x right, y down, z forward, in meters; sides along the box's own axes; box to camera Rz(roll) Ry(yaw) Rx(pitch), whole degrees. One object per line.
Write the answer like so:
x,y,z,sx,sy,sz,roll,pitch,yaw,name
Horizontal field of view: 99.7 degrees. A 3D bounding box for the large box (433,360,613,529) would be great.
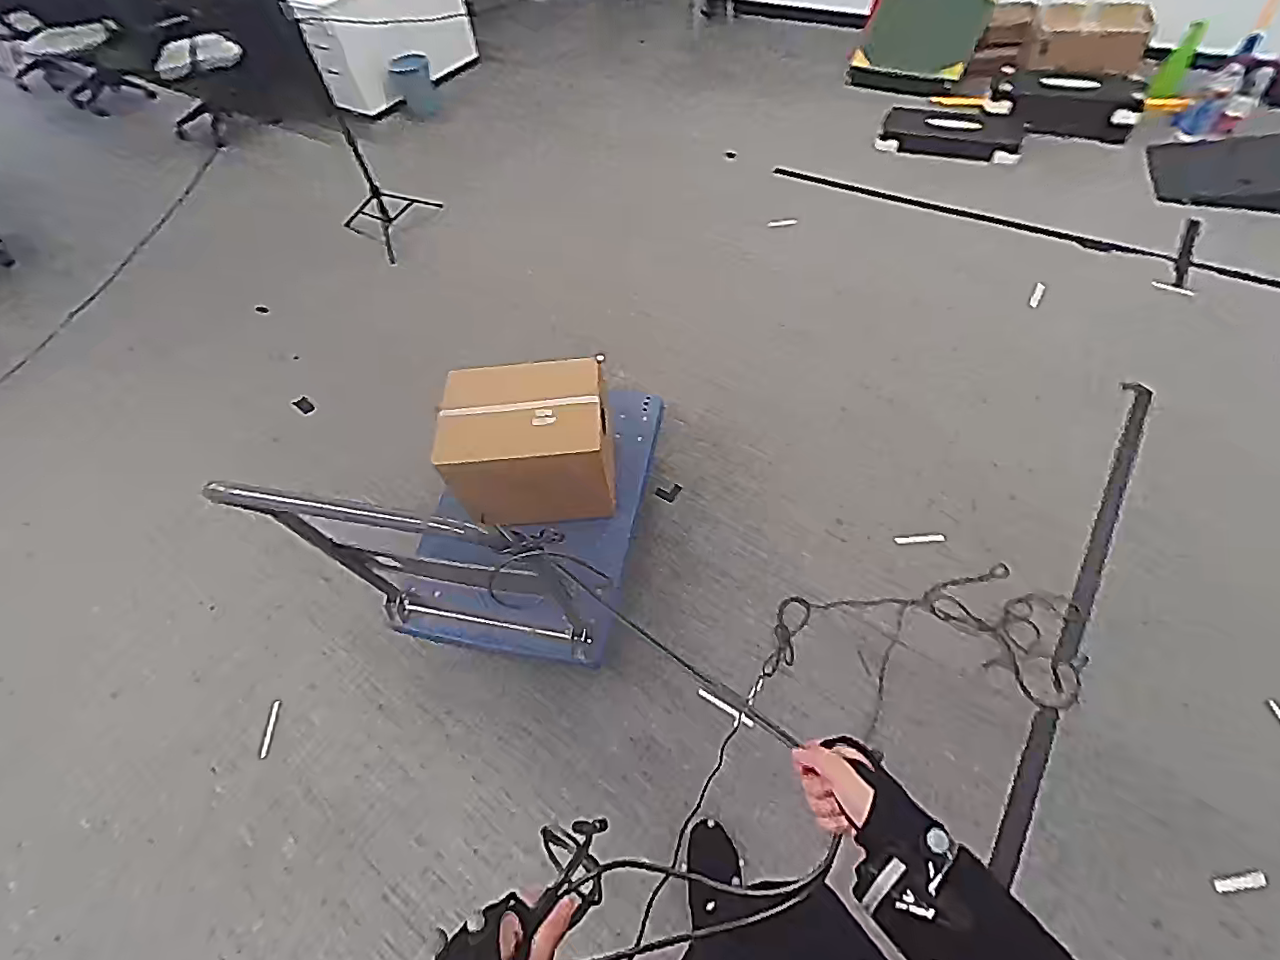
-0.291,-0.088,1.459,0.408,0.320,0.320,-5,57,1,large box
